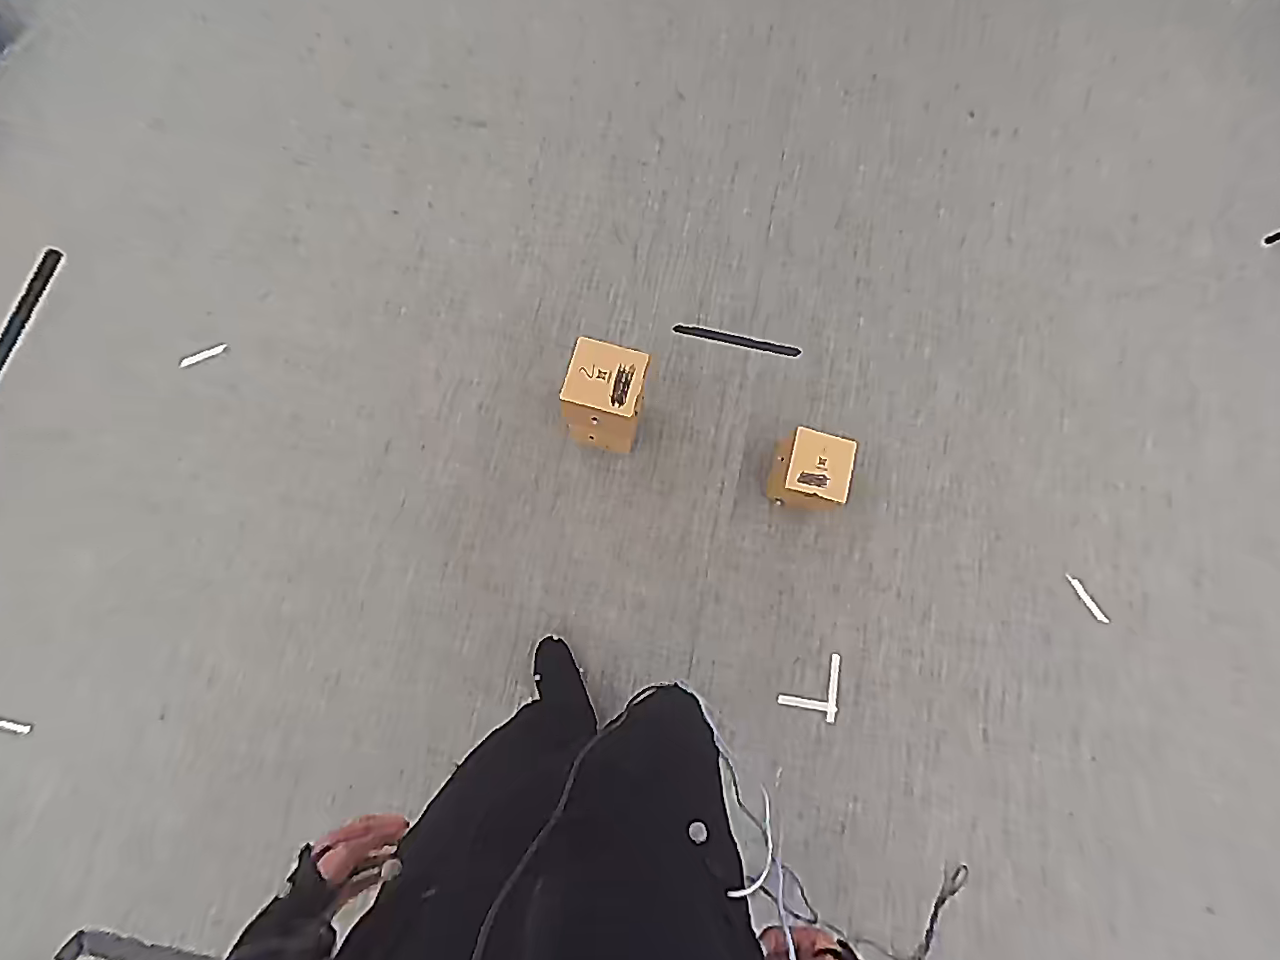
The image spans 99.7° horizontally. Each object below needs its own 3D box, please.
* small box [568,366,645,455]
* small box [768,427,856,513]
[{"bbox_3d":[-0.089,-0.182,1.483,0.168,0.176,0.179,14,76,0],"label":"small box"},{"bbox_3d":[0.462,-0.019,1.477,0.168,0.176,0.179,16,76,0],"label":"small box"}]
